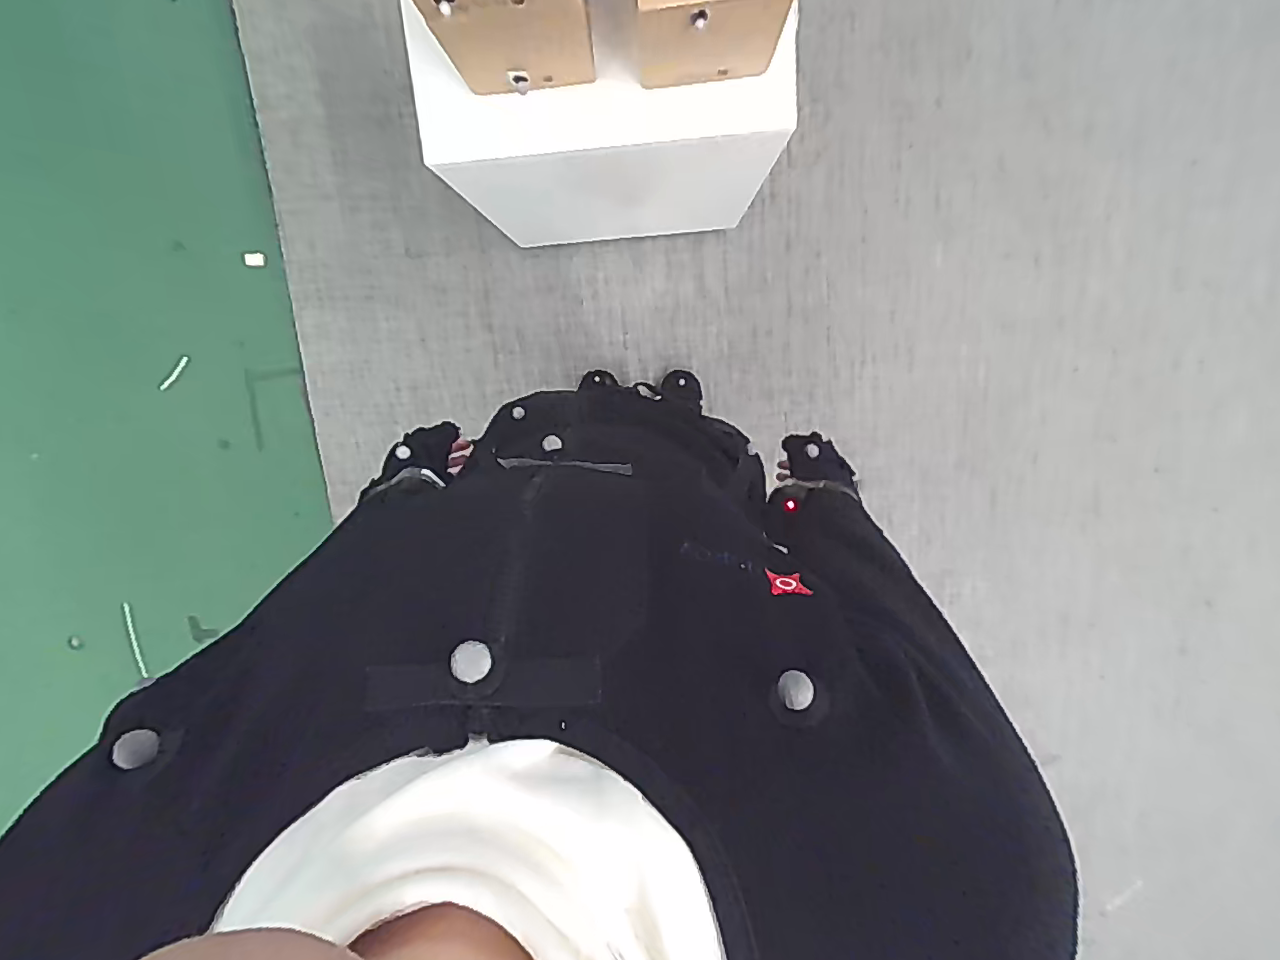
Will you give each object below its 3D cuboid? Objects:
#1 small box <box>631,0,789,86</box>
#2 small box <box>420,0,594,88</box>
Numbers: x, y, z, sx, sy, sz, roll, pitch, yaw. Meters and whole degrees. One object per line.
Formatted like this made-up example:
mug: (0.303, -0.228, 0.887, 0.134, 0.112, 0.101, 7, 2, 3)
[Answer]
small box: (0.071, -0.595, 0.616, 0.168, 0.176, 0.179, -4, 101, 2)
small box: (-0.149, -0.588, 0.610, 0.168, 0.176, 0.179, -6, 103, 3)
